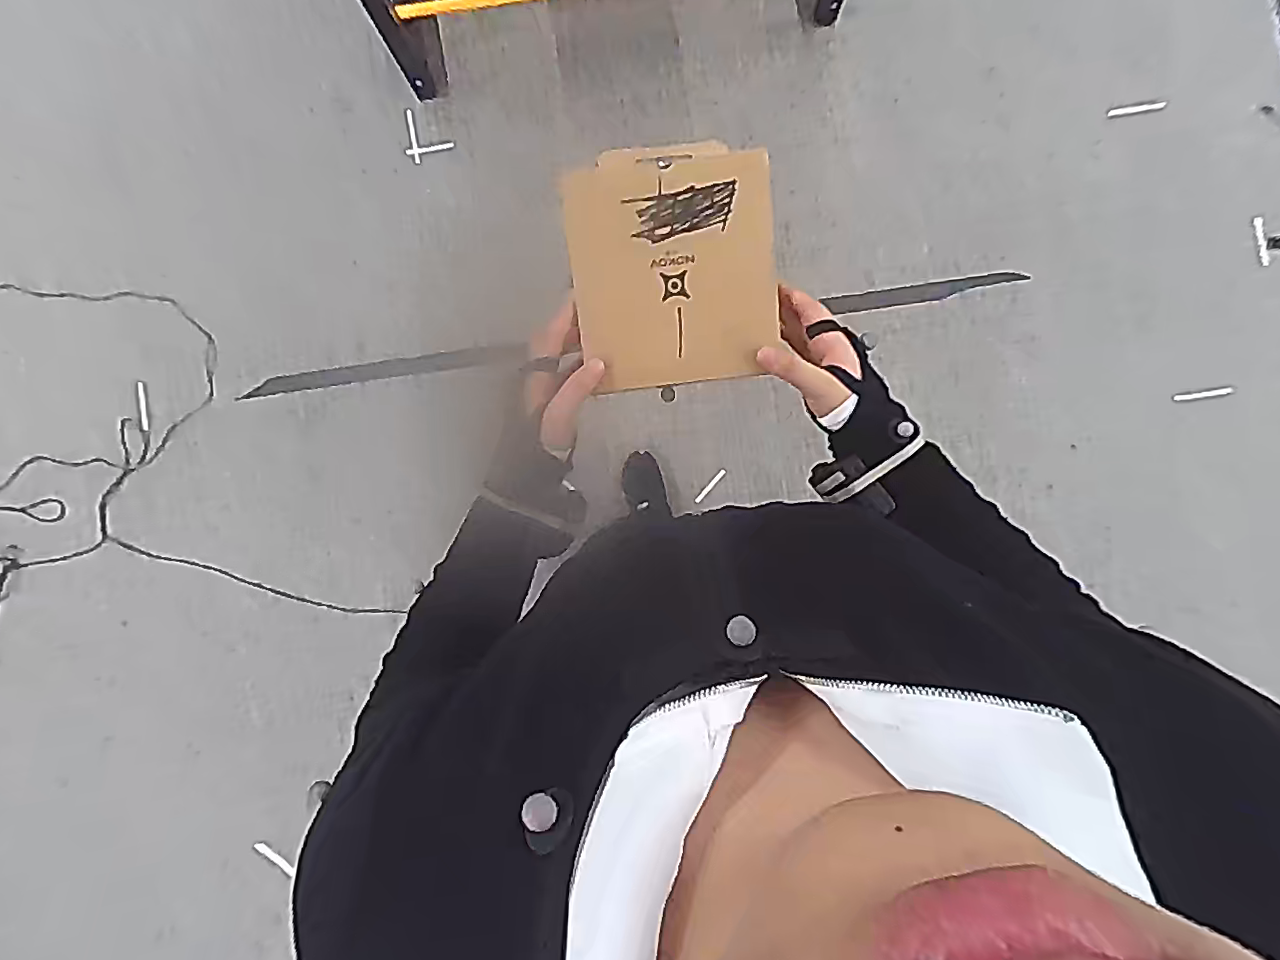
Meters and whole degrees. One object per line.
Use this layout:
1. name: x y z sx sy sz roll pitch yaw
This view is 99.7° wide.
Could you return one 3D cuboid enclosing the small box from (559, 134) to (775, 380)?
1. small box: 0.021 -0.192 0.516 0.168 0.176 0.179 -7 100 0
